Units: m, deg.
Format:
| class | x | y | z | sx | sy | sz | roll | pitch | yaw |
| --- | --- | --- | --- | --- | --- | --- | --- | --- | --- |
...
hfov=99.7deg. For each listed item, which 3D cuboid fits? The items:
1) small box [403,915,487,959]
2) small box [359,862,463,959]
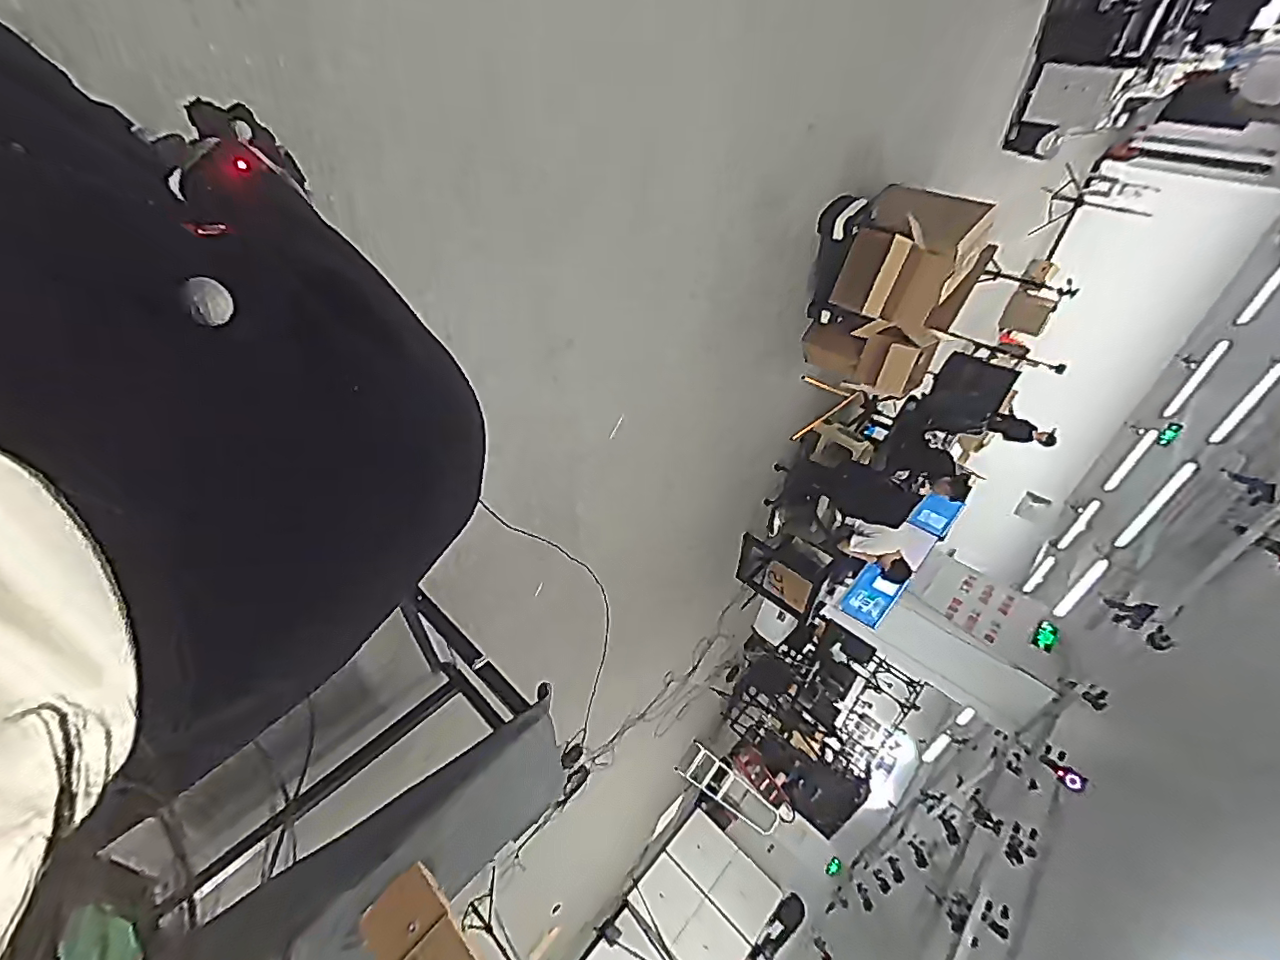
| class | x | y | z | sx | sy | sz | roll | pitch | yaw |
| --- | --- | --- | --- | --- | --- | --- | --- | --- | --- |
| small box | -0.487 | 1.243 | 1.354 | 0.168 | 0.176 | 0.179 | -36 | 143 | -33 |
| small box | -0.607 | 1.171 | 1.440 | 0.179 | 0.176 | 0.168 | -35 | 142 | -32 |
